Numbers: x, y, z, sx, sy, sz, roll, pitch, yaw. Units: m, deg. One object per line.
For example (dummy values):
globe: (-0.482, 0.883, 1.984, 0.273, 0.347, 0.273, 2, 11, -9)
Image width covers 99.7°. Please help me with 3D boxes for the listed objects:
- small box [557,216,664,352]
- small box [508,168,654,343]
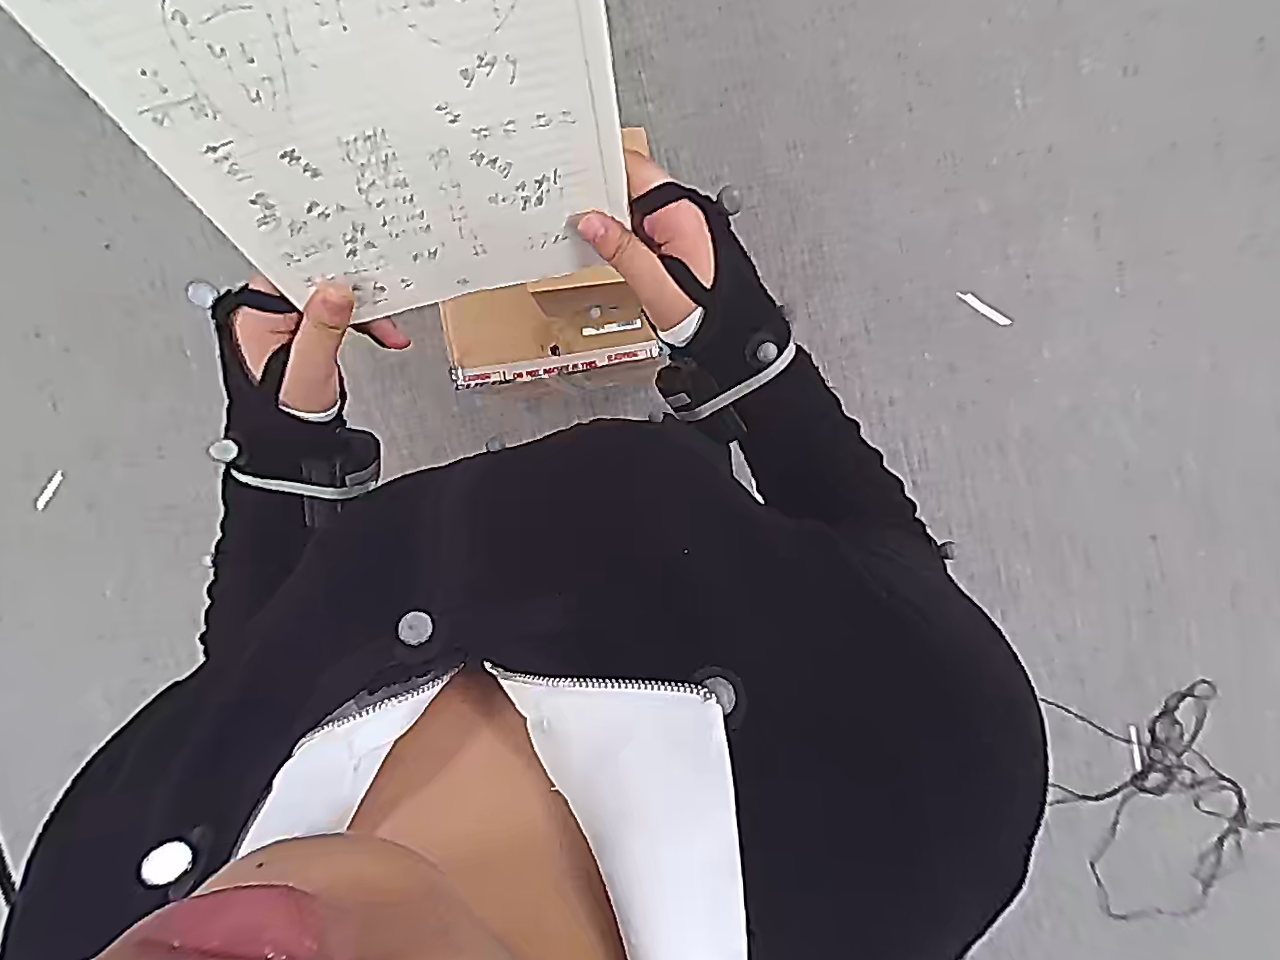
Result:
small box: (-0.064, -0.318, 0.906, 0.179, 0.176, 0.168, -11, 96, -1)
small box: (-0.076, -0.295, 0.742, 0.168, 0.176, 0.179, -7, 97, -2)
